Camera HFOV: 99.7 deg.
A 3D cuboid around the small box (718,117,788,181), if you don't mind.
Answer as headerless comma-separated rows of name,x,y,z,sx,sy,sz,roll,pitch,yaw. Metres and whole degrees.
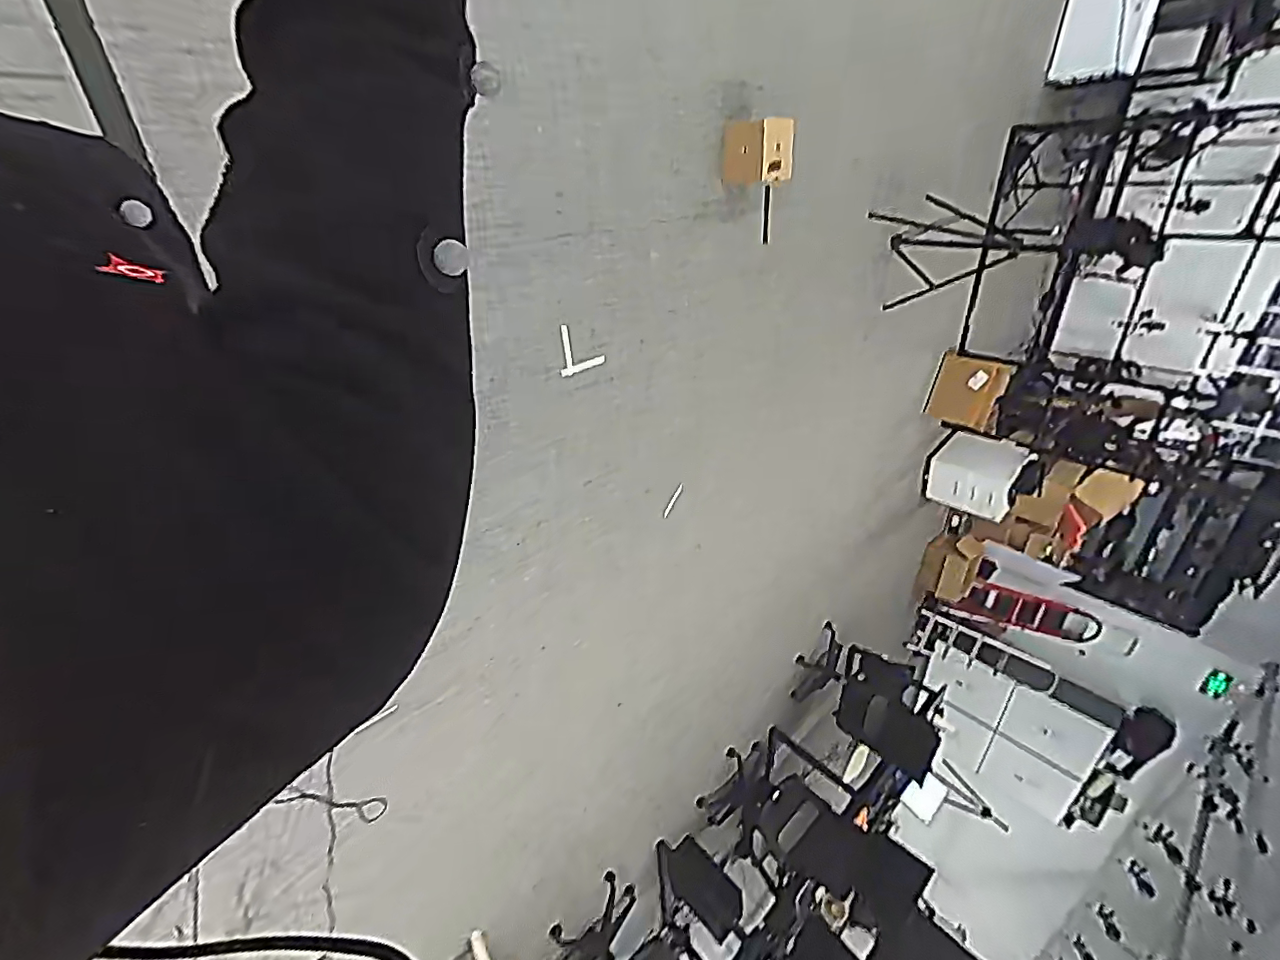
small box,0.379,-1.116,1.833,0.168,0.176,0.179,-26,125,-35
